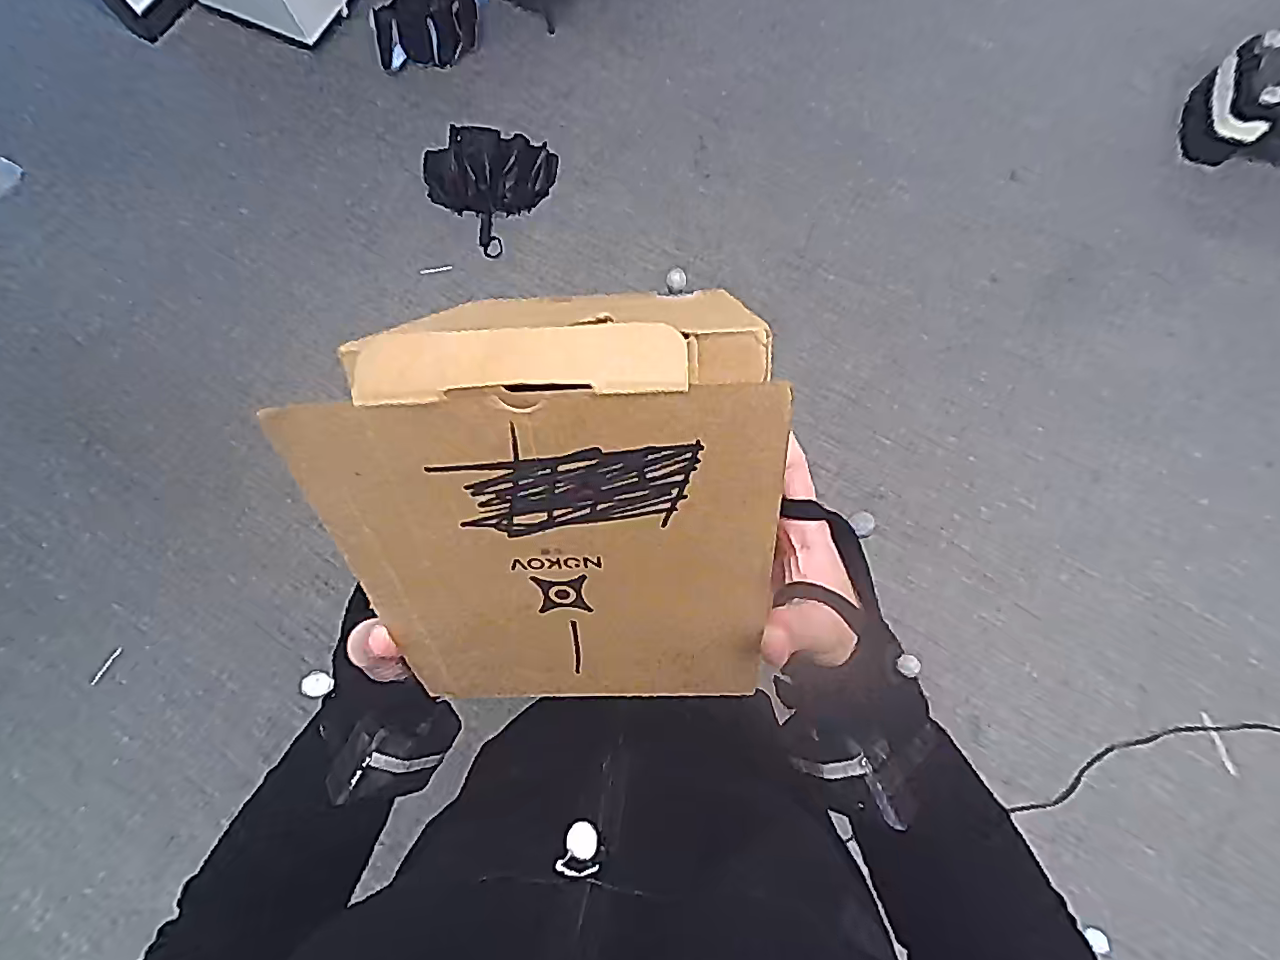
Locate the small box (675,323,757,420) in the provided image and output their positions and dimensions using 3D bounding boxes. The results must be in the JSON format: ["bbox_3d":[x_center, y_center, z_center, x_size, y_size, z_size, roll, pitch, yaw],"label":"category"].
[{"bbox_3d":[0.205,-0.295,1.496,0.168,0.176,0.179,24,79,10],"label":"small box"}]
